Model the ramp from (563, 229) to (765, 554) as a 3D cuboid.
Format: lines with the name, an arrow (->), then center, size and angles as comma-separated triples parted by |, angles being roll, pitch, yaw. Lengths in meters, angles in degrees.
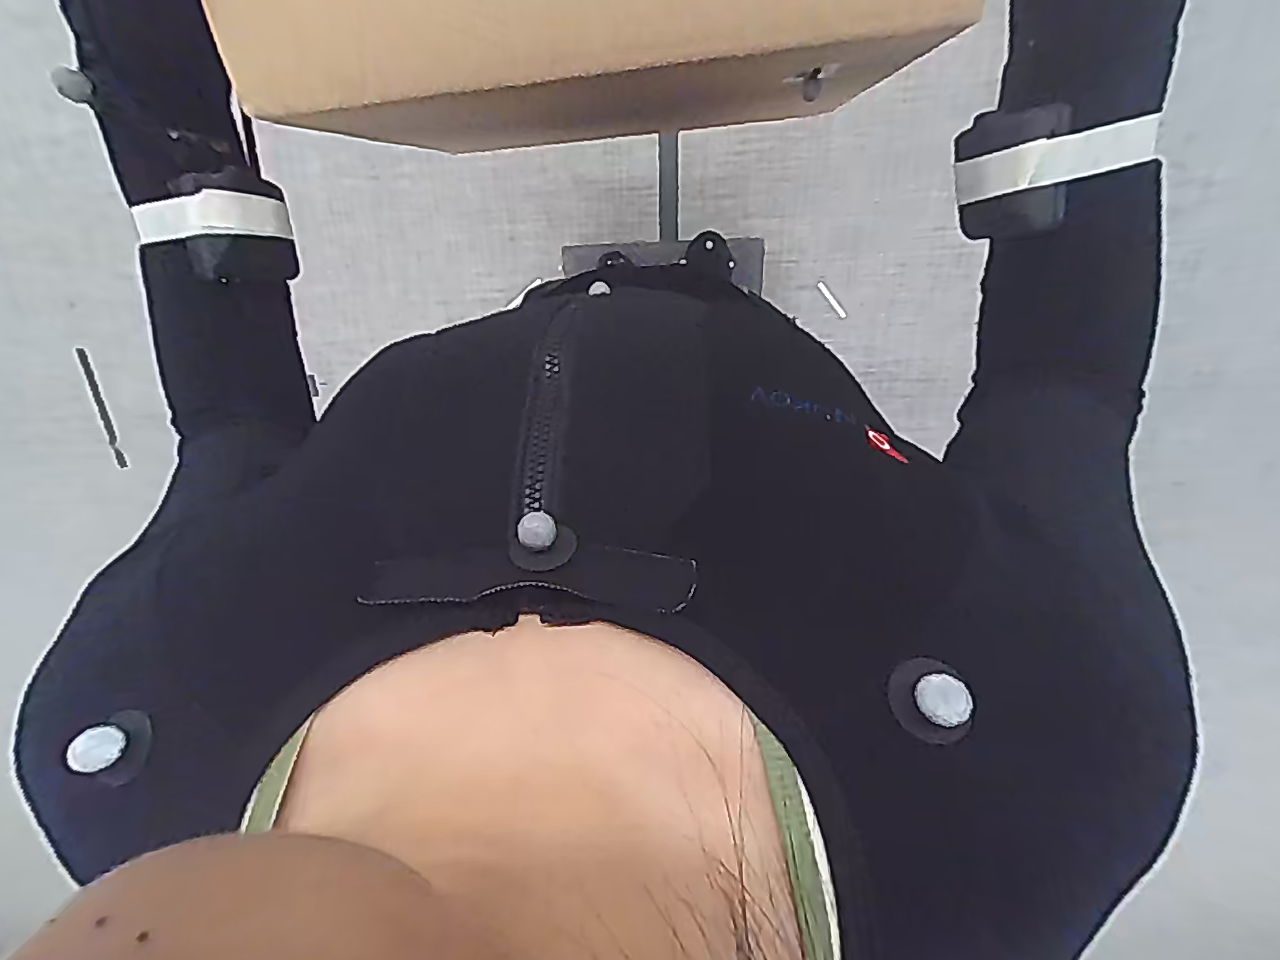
ramp -> 0.082, -0.173, 1.561 | 0.509, 0.206, 0.991 | -2, 112, 5

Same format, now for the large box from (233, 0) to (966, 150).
large box -> -0.028, -0.432, 0.368 | 0.408, 0.320, 0.320 | -3, 117, 7
